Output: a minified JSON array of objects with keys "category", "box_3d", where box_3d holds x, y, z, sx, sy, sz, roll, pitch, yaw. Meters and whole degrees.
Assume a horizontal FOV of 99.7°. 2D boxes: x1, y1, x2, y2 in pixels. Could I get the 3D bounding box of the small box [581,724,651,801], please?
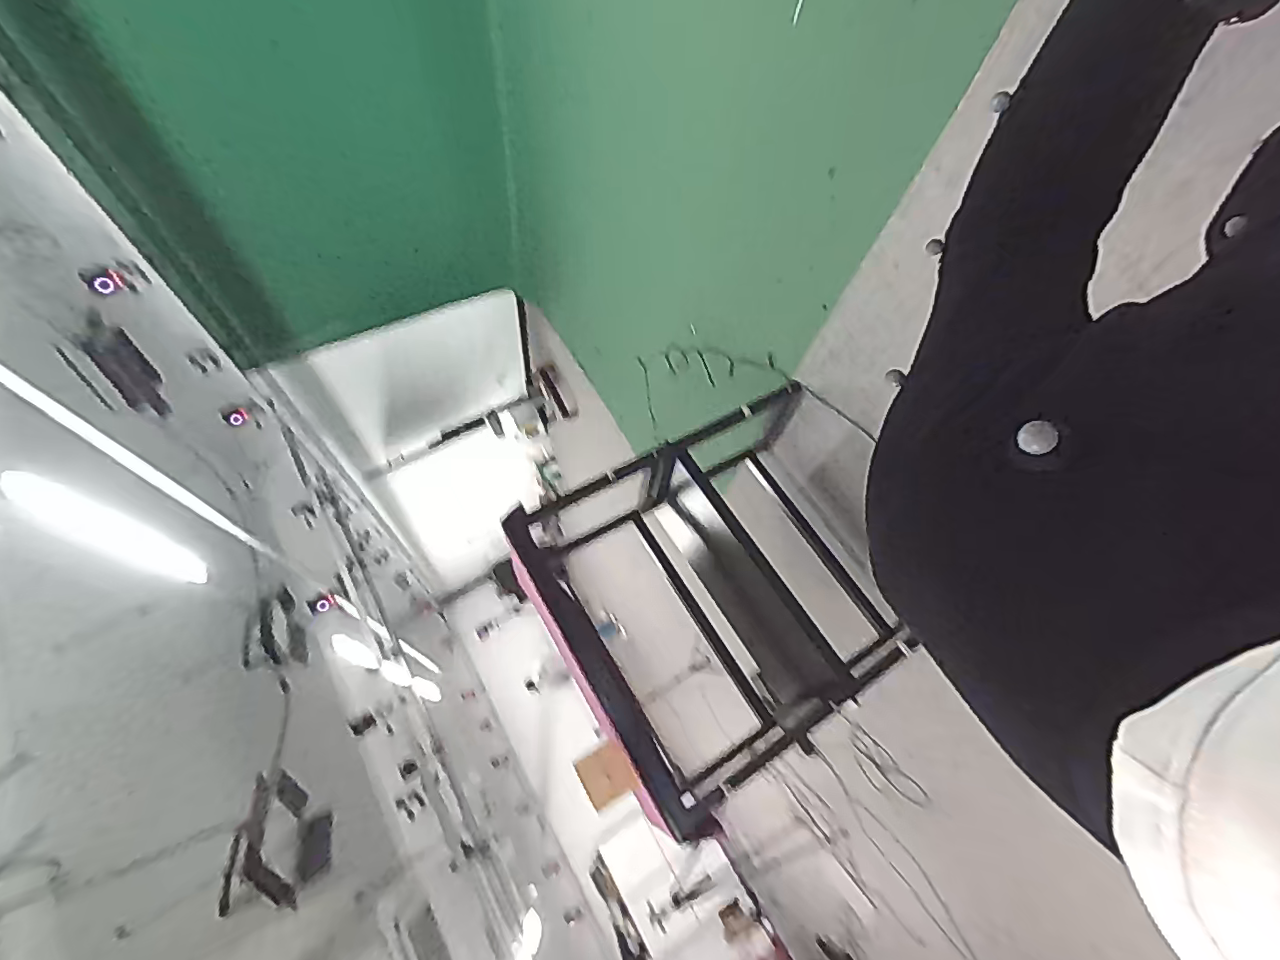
[{"category":"small box","box_3d":[-0.084,0.948,1.830,0.179,0.176,0.168,54,161,21]}]
